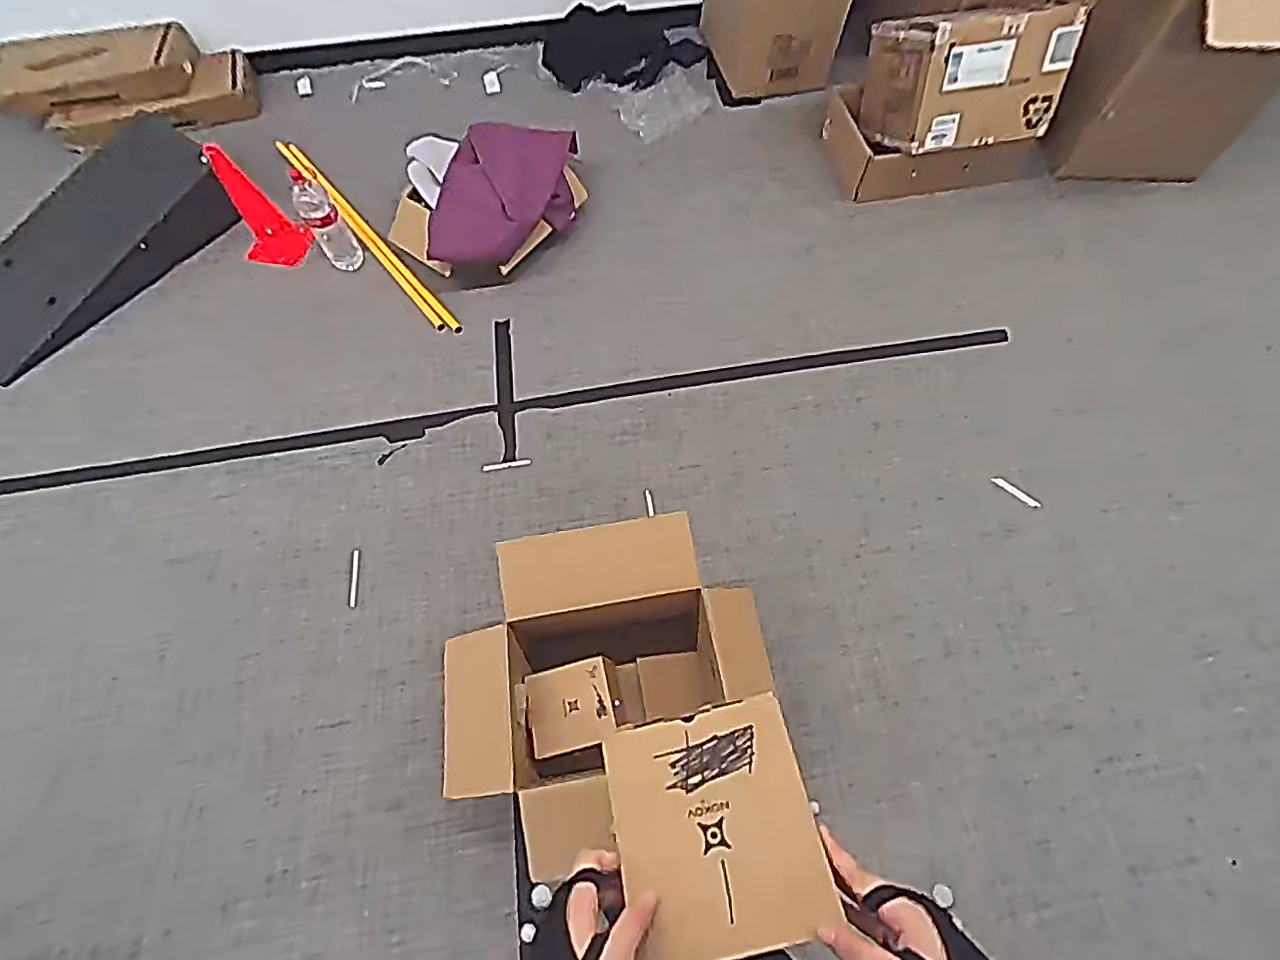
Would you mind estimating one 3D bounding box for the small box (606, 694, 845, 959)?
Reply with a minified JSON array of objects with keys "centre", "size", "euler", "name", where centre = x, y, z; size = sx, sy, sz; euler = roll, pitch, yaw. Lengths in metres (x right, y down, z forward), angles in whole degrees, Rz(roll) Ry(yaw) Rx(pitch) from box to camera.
[{"centre":[0.072,0.327,0.519],"size":[0.168,0.176,0.179],"euler":[-14,57,2],"name":"small box"}]
